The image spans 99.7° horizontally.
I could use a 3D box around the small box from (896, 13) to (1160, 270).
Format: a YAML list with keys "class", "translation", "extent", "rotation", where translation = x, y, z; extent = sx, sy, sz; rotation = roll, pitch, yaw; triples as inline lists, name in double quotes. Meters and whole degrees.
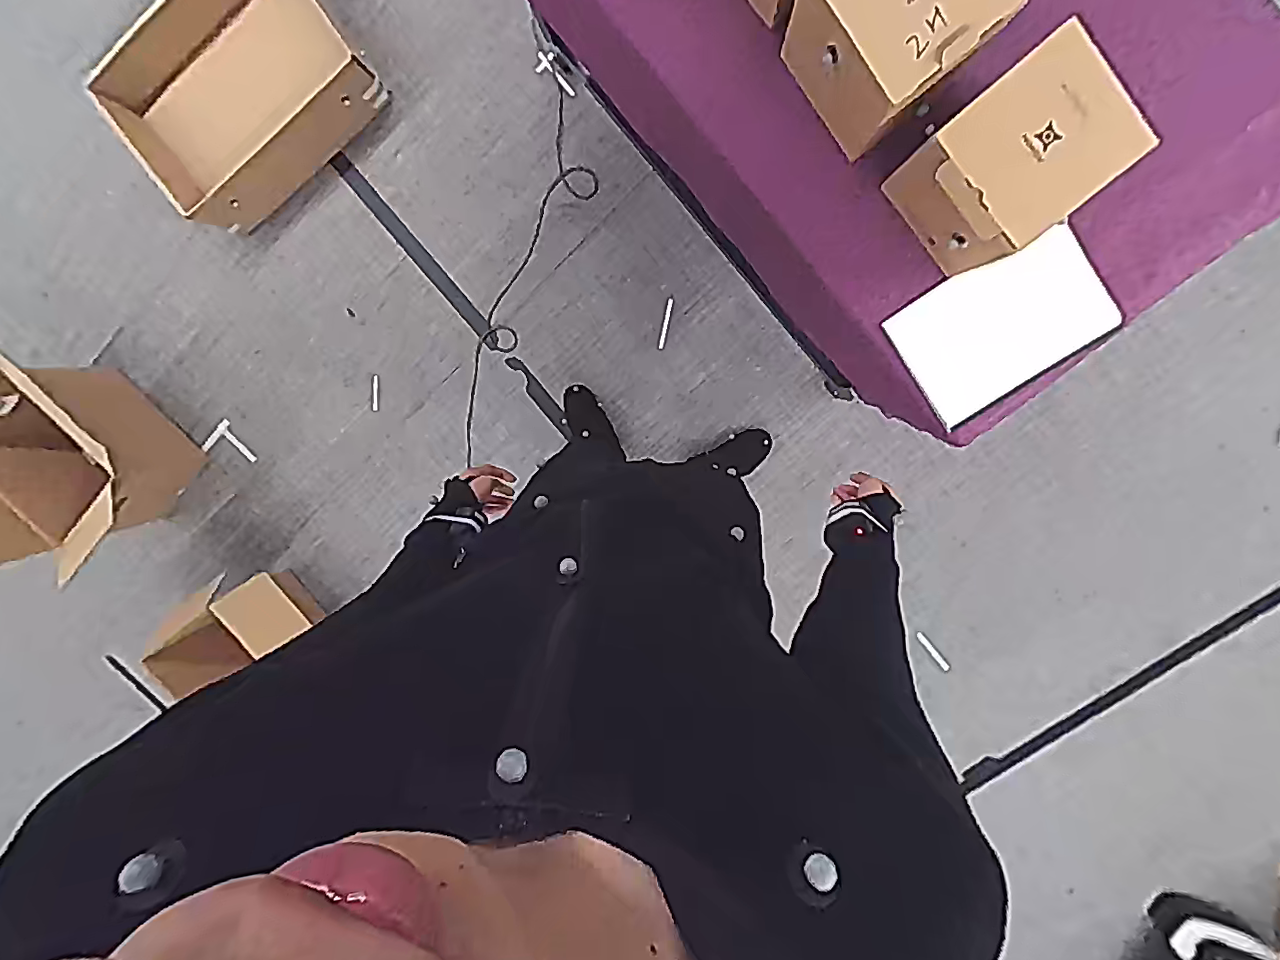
- class: "small box"
  translation: [0.445, -0.387, 0.662]
  extent: [0.179, 0.176, 0.168]
  rotation: [-39, 96, 11]
